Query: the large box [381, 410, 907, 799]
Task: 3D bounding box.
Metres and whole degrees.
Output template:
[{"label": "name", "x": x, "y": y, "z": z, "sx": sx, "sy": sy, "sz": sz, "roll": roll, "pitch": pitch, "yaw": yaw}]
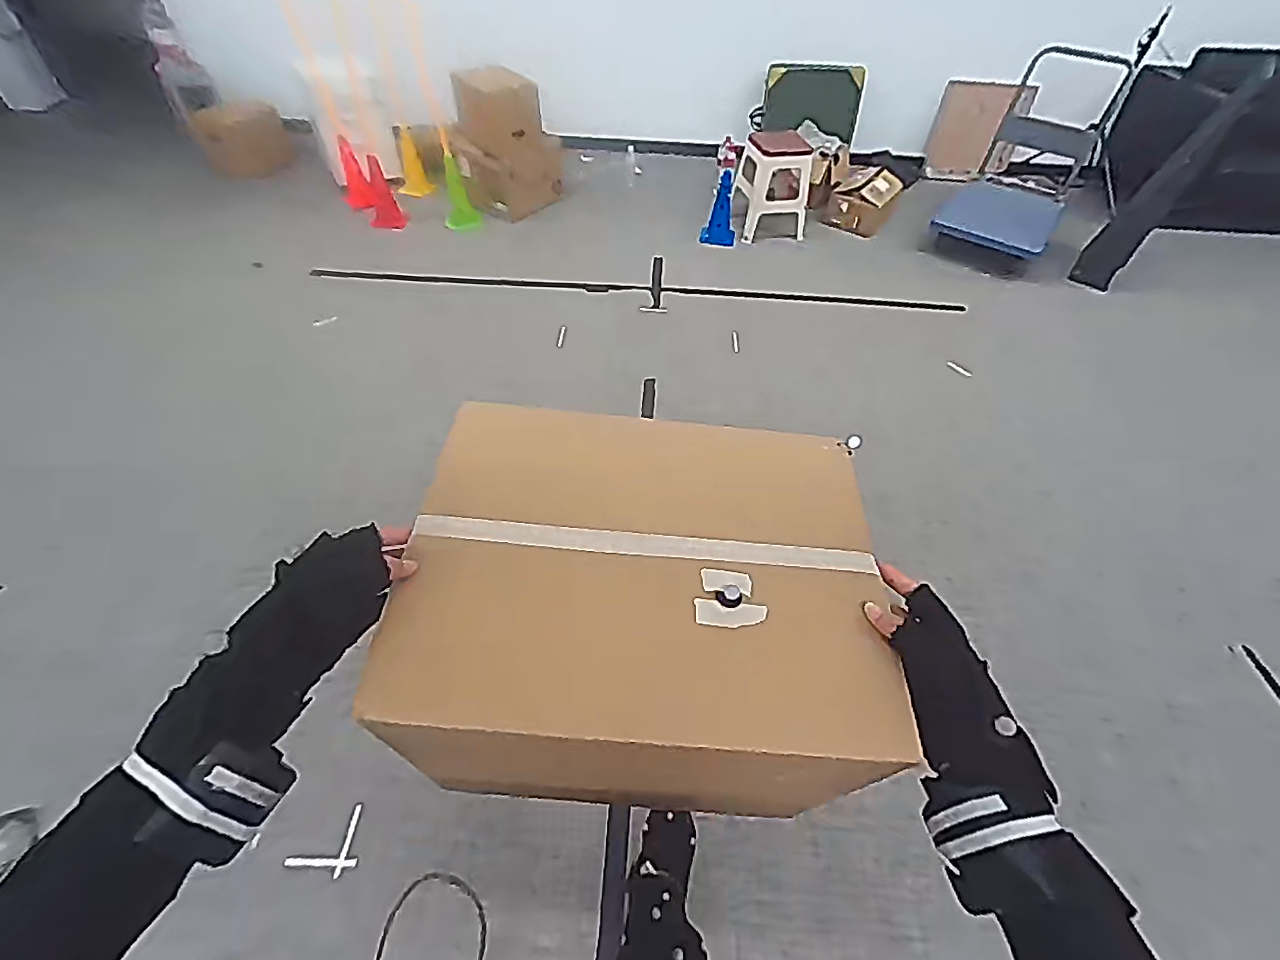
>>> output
[{"label": "large box", "x": -0.002, "y": 0.152, "z": 0.607, "sx": 0.408, "sy": 0.320, "sz": 0.320, "roll": 6, "pitch": 53, "yaw": -2}]
